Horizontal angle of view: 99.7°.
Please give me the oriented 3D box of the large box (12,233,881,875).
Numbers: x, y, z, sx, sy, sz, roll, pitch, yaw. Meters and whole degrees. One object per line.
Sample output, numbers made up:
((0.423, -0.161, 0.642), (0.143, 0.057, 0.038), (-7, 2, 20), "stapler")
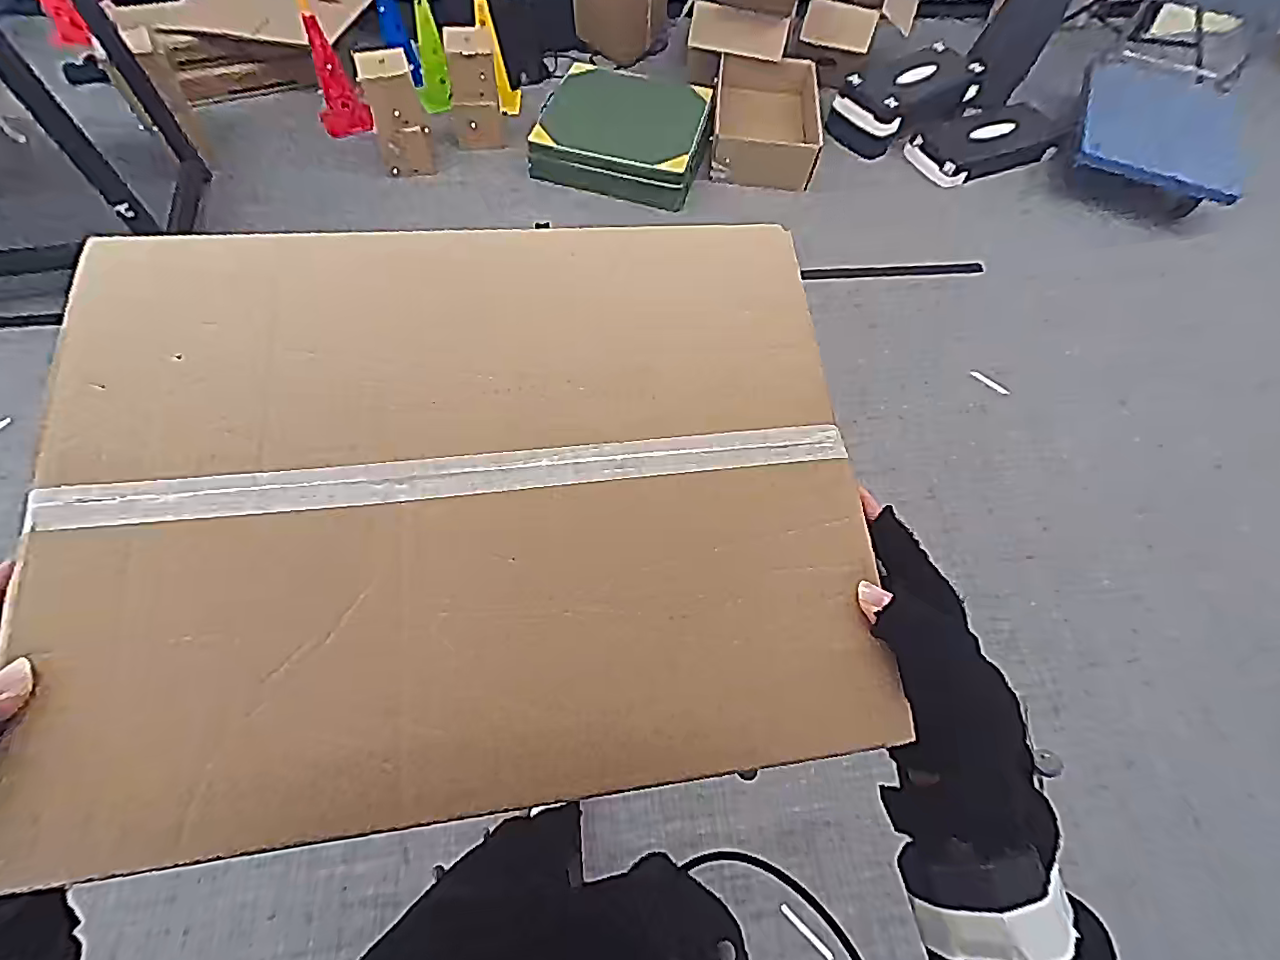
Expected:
((-0.102, 0.043, 0.434), (0.408, 0.320, 0.320), (-5, 73, -8), "large box")
